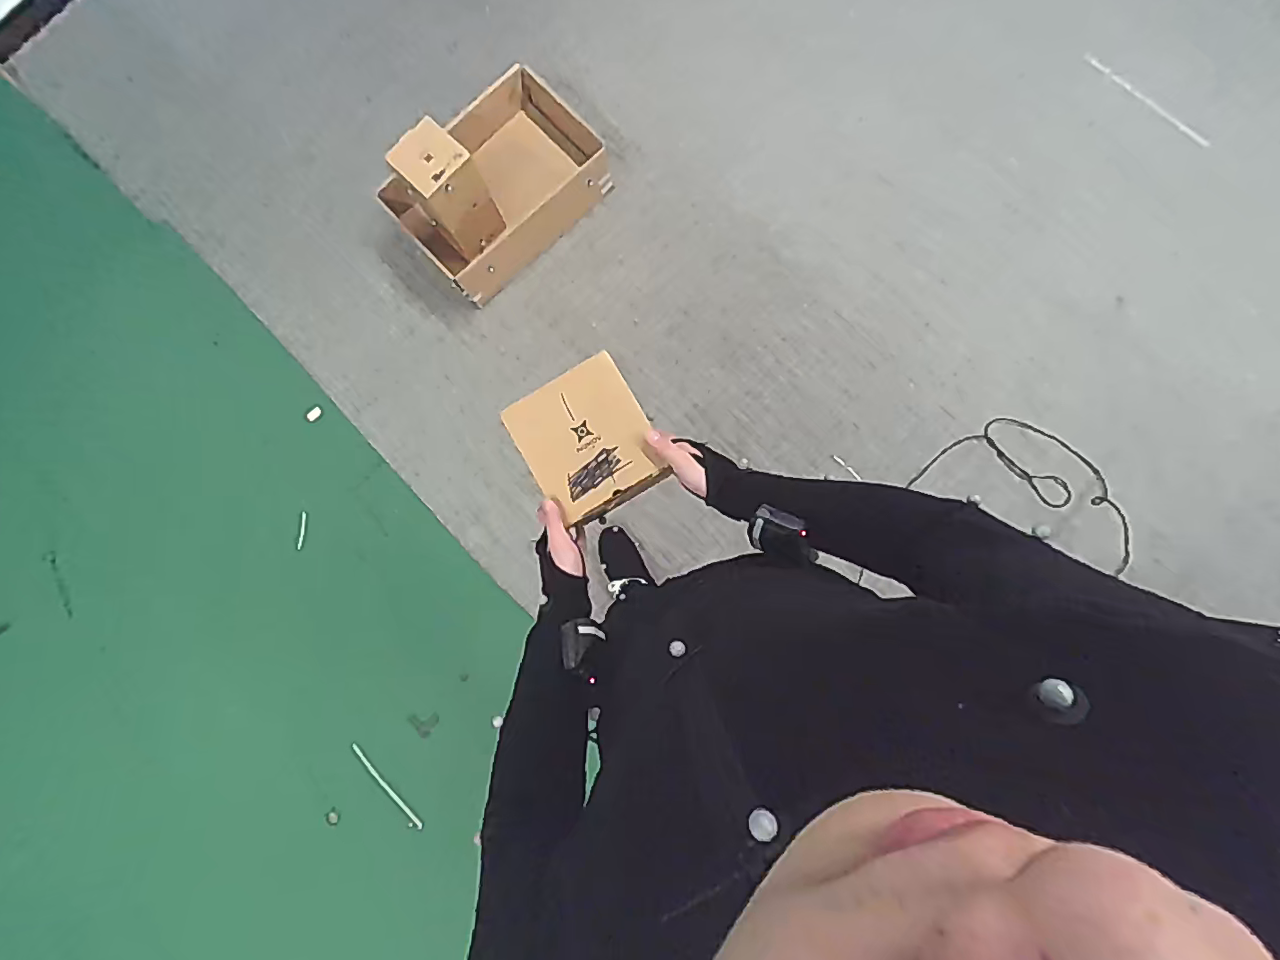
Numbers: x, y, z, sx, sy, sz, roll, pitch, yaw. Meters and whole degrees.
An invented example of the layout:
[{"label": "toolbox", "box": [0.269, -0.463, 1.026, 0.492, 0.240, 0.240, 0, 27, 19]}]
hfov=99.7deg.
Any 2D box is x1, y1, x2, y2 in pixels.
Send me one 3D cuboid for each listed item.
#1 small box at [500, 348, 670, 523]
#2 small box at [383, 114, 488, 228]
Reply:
[{"label": "small box", "box": [-0.065, -0.054, 0.770, 0.168, 0.176, 0.179, -30, 85, 2]}, {"label": "small box", "box": [-0.554, -0.838, 1.485, 0.179, 0.176, 0.168, 44, 88, 7]}]
